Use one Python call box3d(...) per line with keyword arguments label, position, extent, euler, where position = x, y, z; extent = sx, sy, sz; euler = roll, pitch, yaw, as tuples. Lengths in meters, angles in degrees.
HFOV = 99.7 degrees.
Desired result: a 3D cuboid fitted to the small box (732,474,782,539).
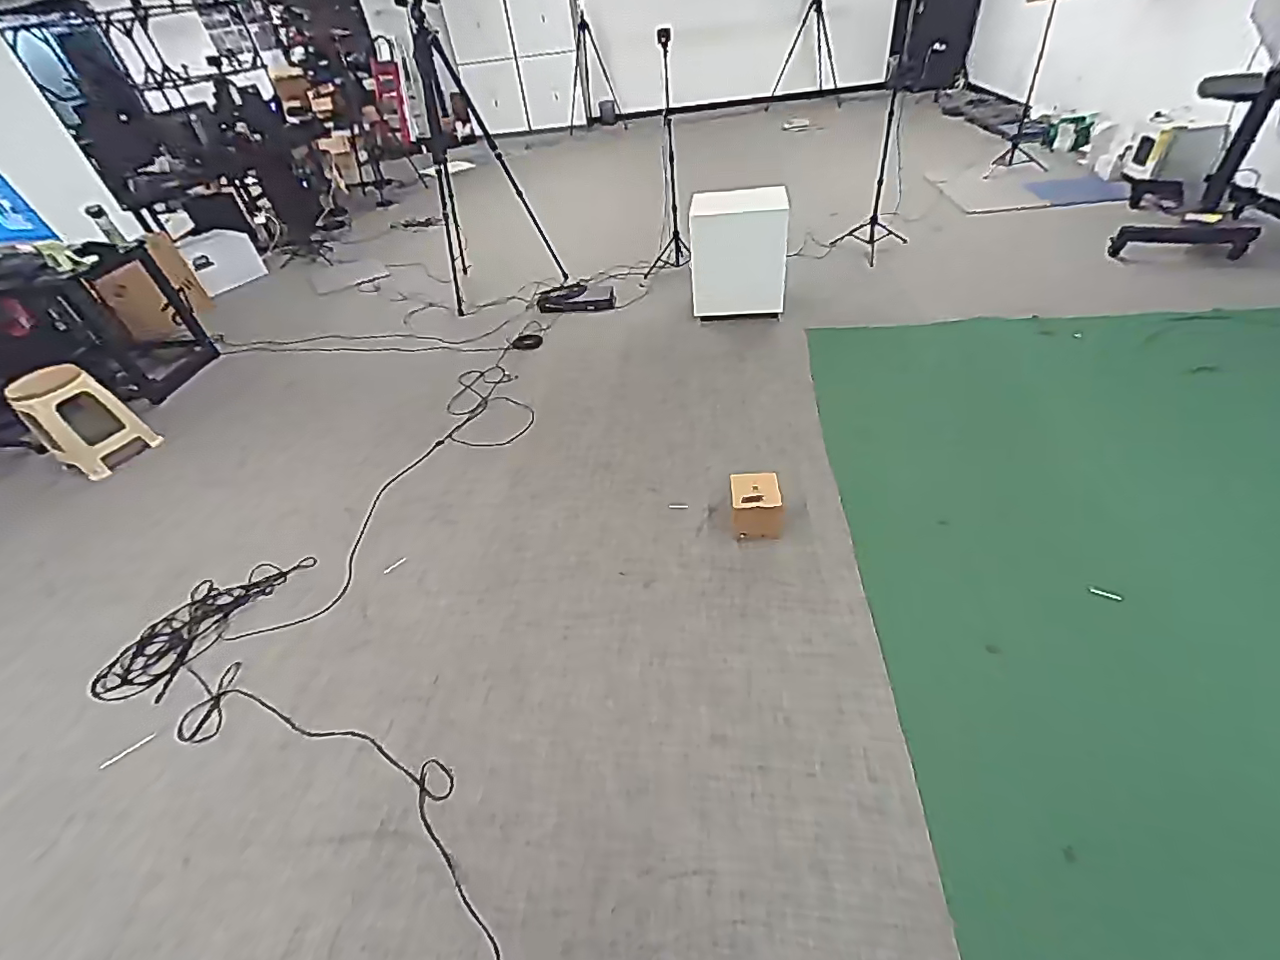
box3d(label="small box", position=(0.417, 0.100, 1.944), extent=(0.168, 0.176, 0.179), euler=(-2, 42, 7))
